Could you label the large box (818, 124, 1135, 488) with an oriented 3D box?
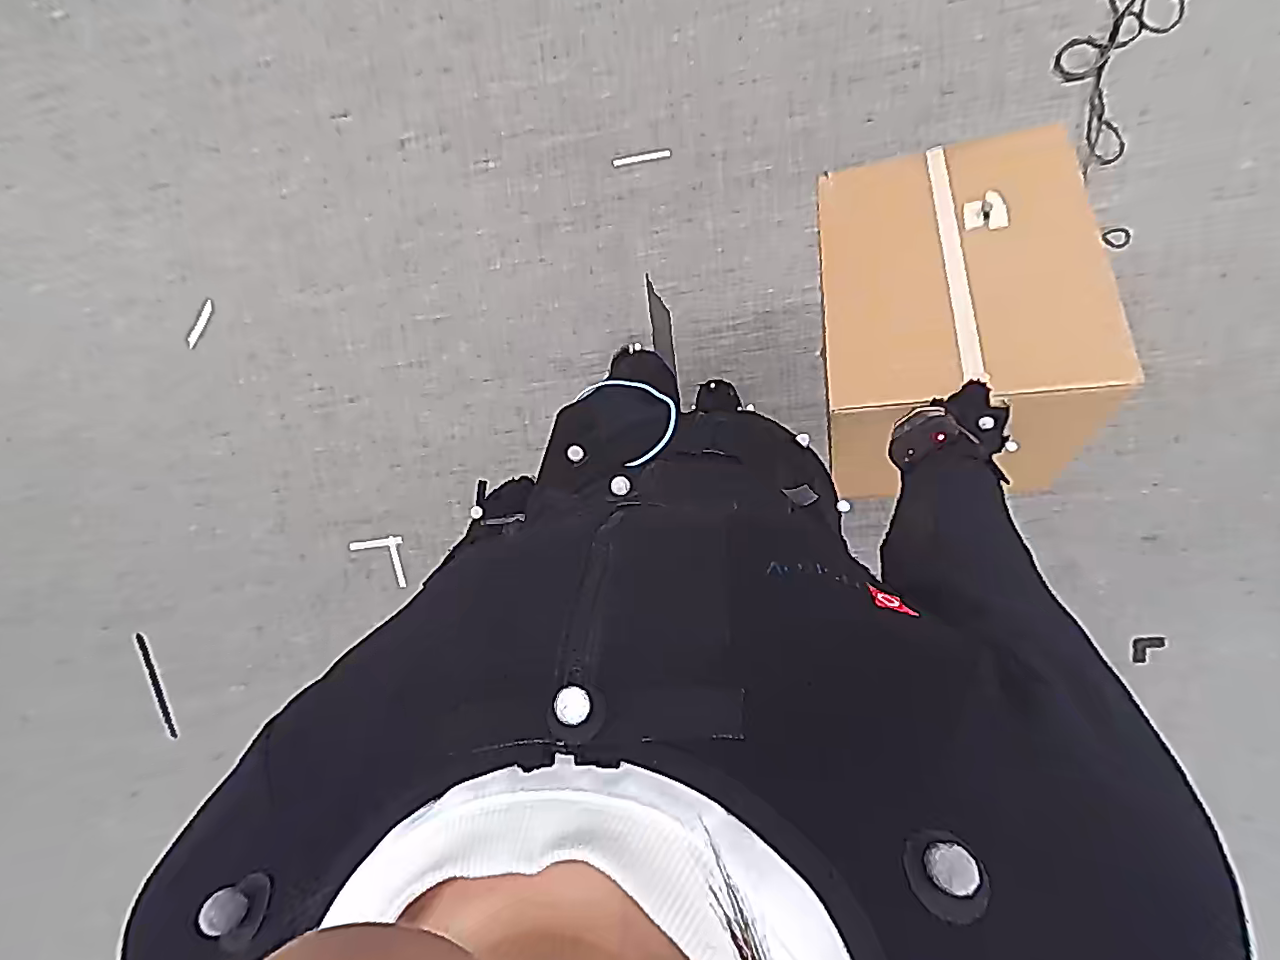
[{"bbox_3d":[0.453,-0.232,0.833,0.320,0.320,0.408,-3,67,18],"label":"large box"}]
